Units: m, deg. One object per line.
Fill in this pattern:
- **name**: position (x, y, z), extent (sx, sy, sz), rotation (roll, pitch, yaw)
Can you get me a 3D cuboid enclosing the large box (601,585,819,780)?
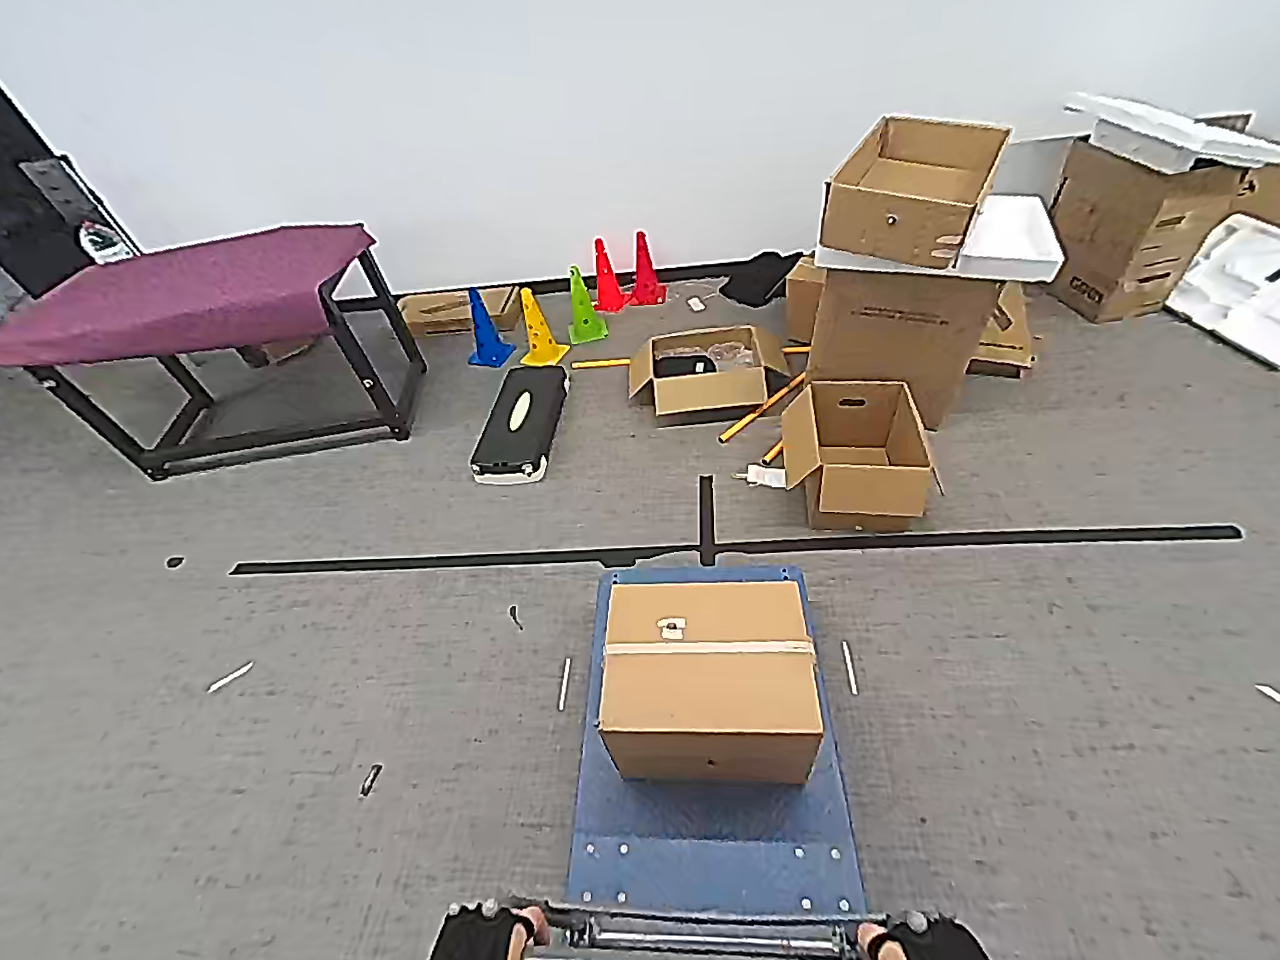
- **large box**: position (0.149, 0.454, 1.195), extent (0.408, 0.320, 0.320), rotation (-4, 45, 7)
